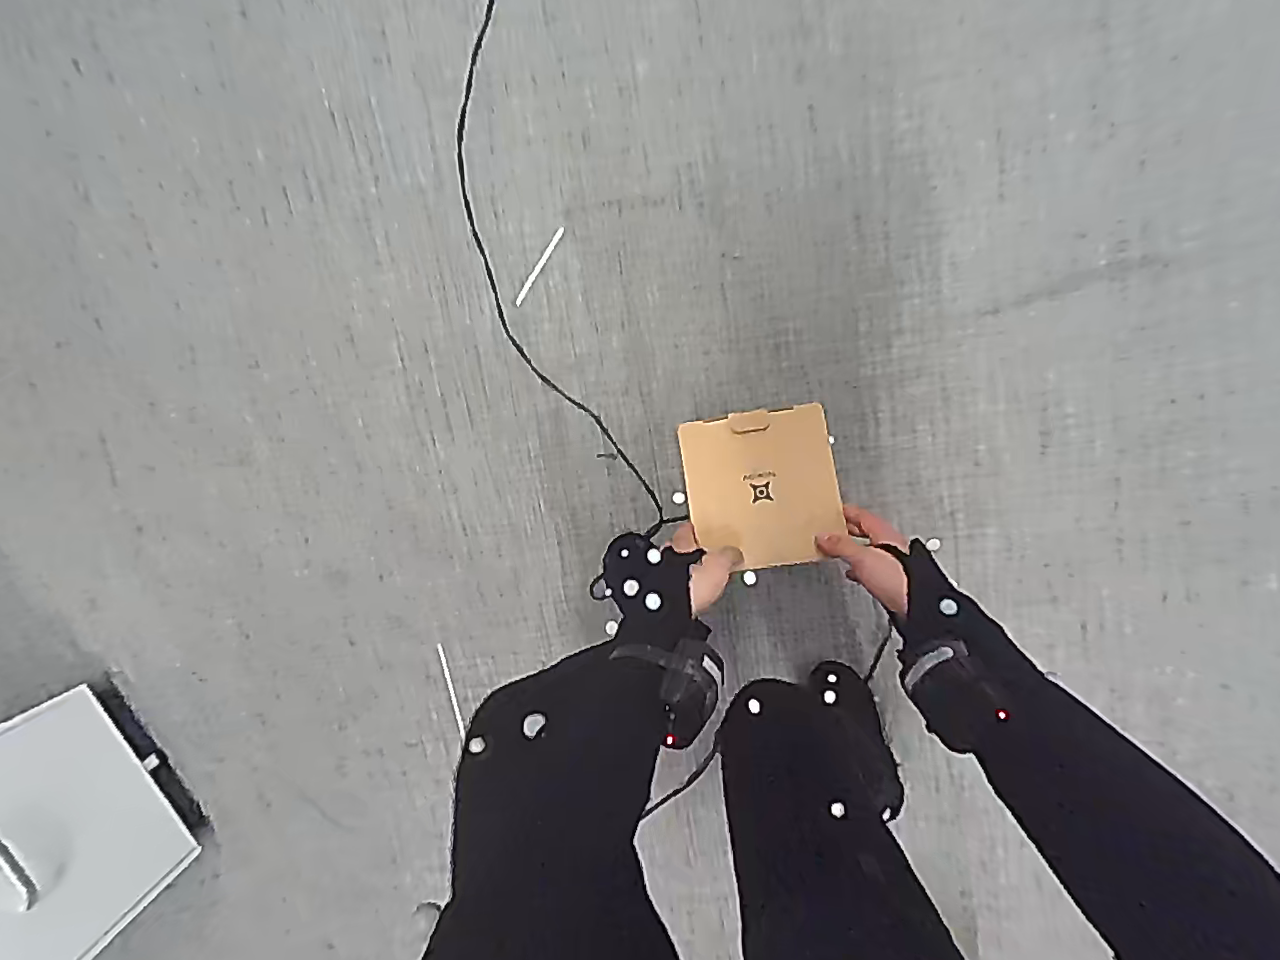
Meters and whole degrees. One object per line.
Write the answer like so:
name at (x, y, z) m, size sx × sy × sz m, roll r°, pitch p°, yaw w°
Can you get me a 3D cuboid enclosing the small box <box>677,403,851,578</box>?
small box at (0.143, 0.025, 0.664) m, size 0.168 × 0.176 × 0.179 m, roll -8°, pitch 77°, yaw 6°
